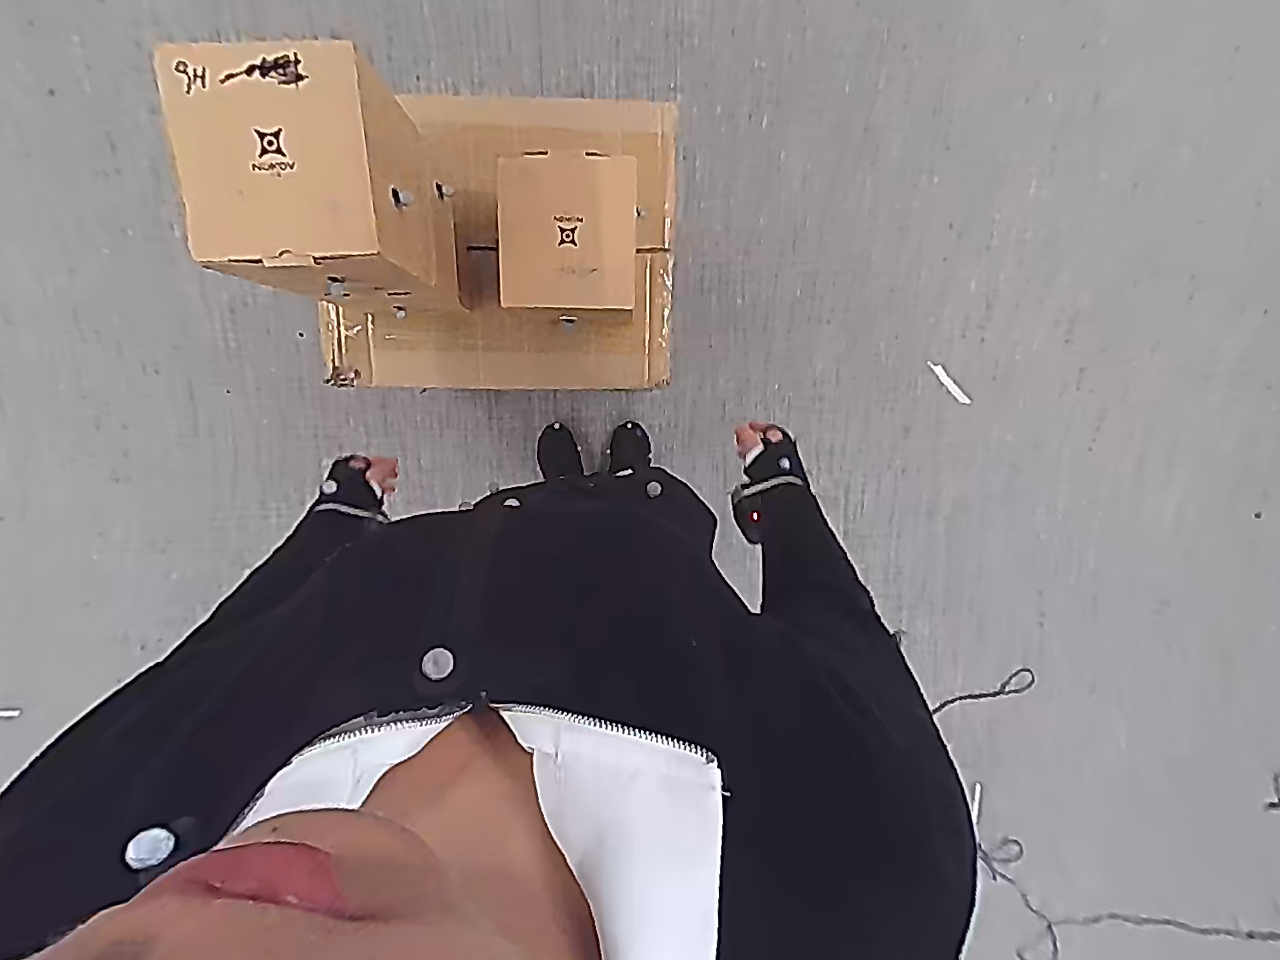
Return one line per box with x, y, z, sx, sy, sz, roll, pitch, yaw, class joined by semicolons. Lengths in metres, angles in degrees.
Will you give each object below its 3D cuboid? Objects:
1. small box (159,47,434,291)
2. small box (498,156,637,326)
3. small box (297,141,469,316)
-0.322;-0.293;0.550;0.168;0.176;0.179;-3;100;-3;small box
-0.088;-0.307;0.727;0.168;0.176;0.179;0;101;0;small box
-0.331;-0.318;0.712;0.168;0.176;0.179;-2;100;-3;small box
